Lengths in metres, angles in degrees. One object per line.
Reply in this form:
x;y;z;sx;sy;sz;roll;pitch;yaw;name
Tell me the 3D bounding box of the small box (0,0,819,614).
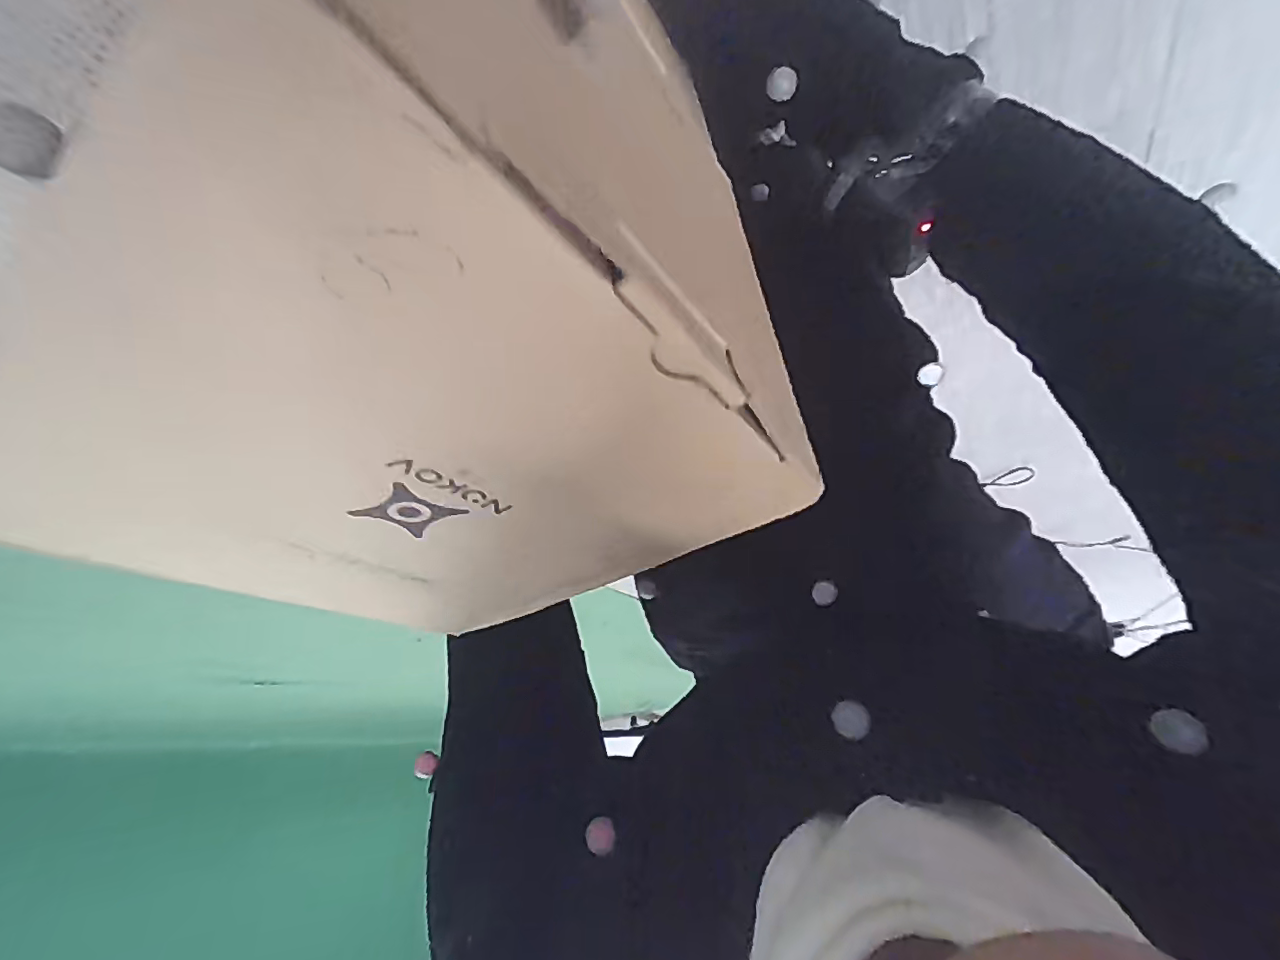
-0.064;-0.067;0.195;0.179;0.176;0.168;-23;145;29;small box
